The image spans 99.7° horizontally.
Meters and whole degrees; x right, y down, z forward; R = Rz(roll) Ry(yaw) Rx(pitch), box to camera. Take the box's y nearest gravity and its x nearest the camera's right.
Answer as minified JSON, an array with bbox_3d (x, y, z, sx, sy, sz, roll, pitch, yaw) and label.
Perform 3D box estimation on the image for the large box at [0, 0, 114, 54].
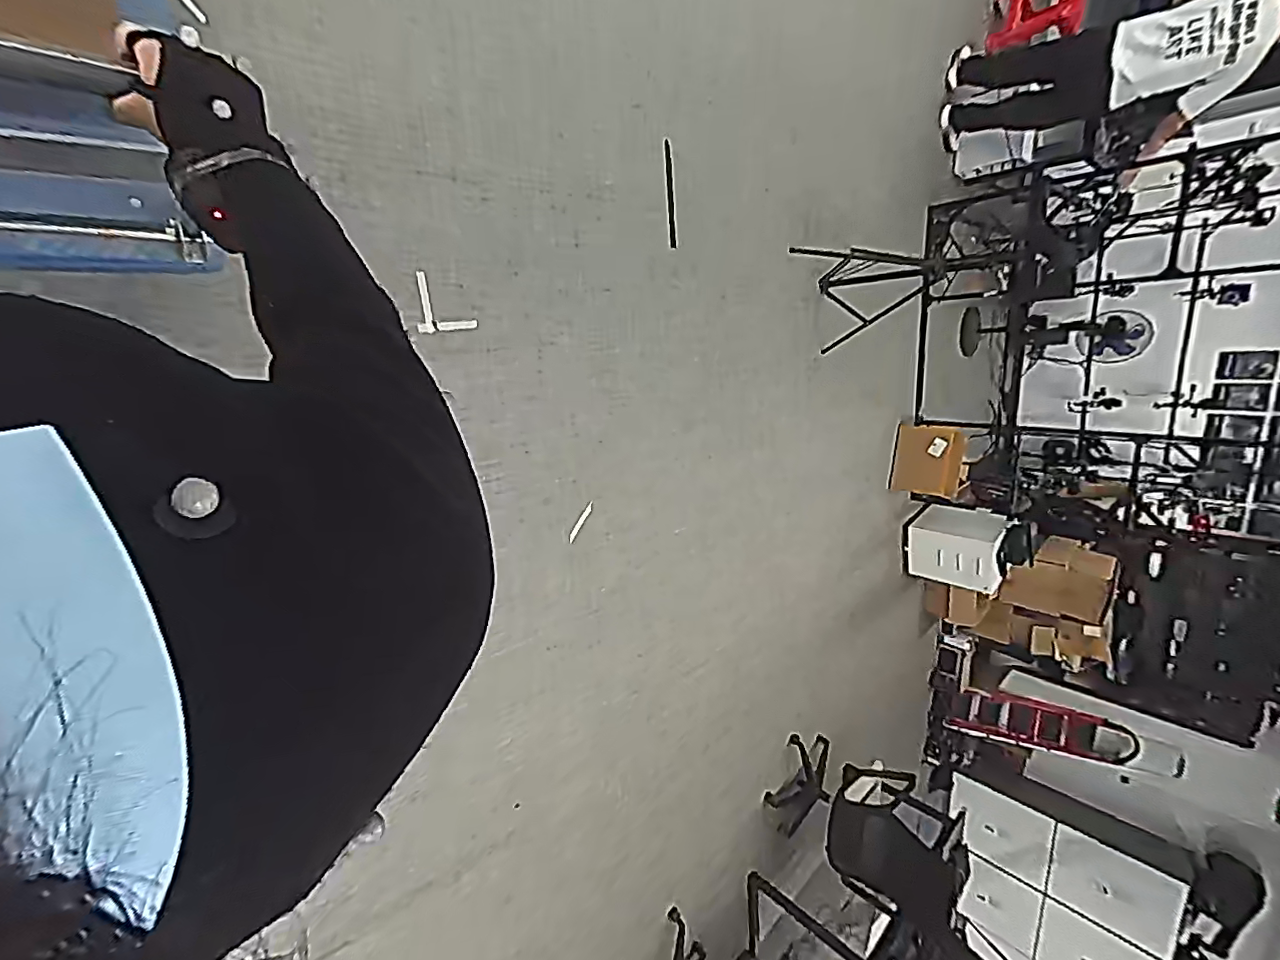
[{"bbox_3d":[-0.930,-0.790,0.632,0.408,0.320,0.320,-14,107,-41],"label":"large box"}]
